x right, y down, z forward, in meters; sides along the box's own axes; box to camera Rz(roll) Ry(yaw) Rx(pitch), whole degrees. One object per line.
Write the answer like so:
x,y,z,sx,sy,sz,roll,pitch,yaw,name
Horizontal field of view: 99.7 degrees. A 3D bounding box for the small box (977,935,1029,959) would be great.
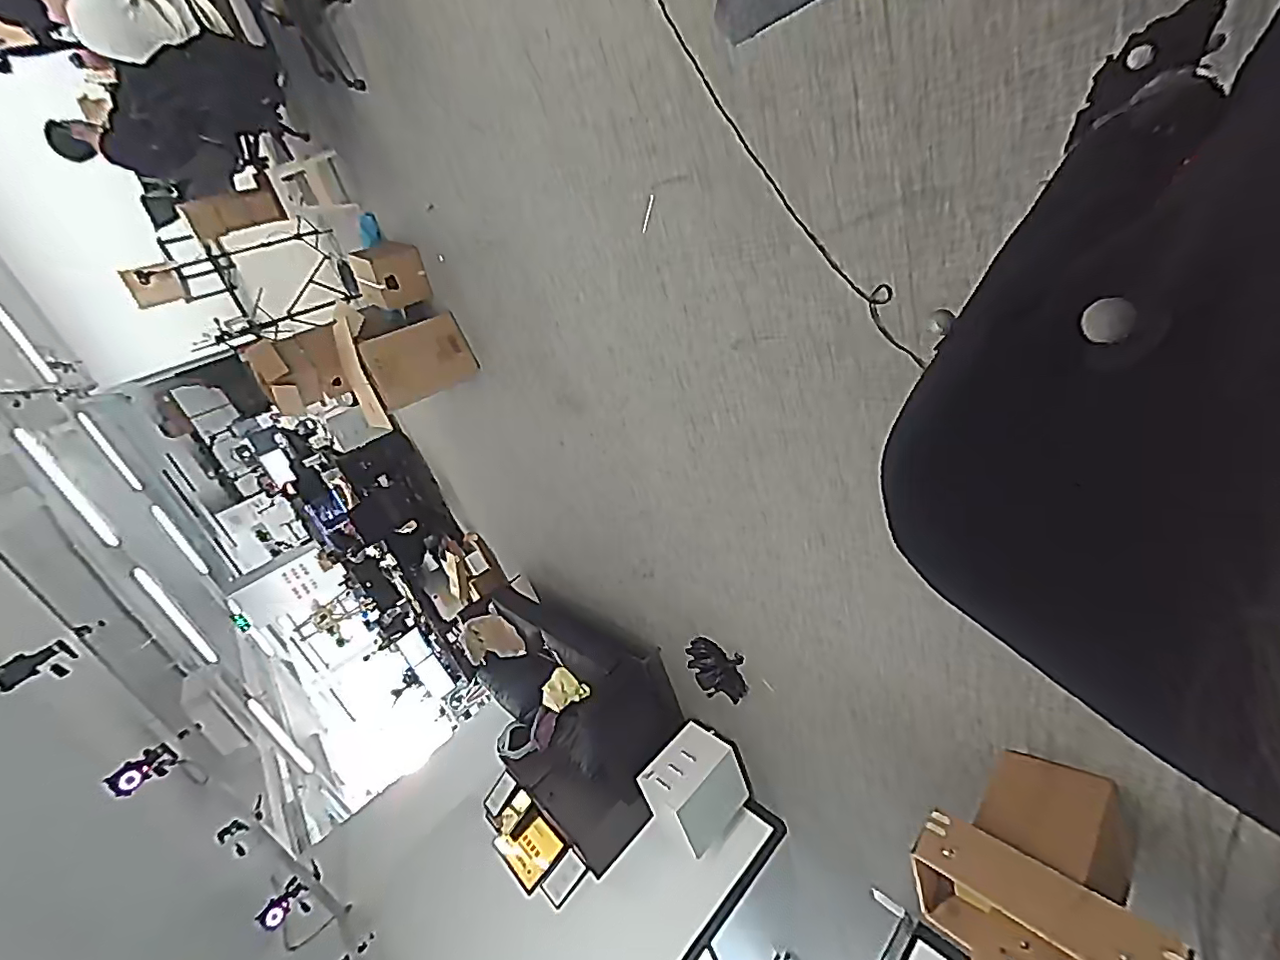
1.029,1.427,1.486,0.168,0.176,0.179,4,122,53,small box
